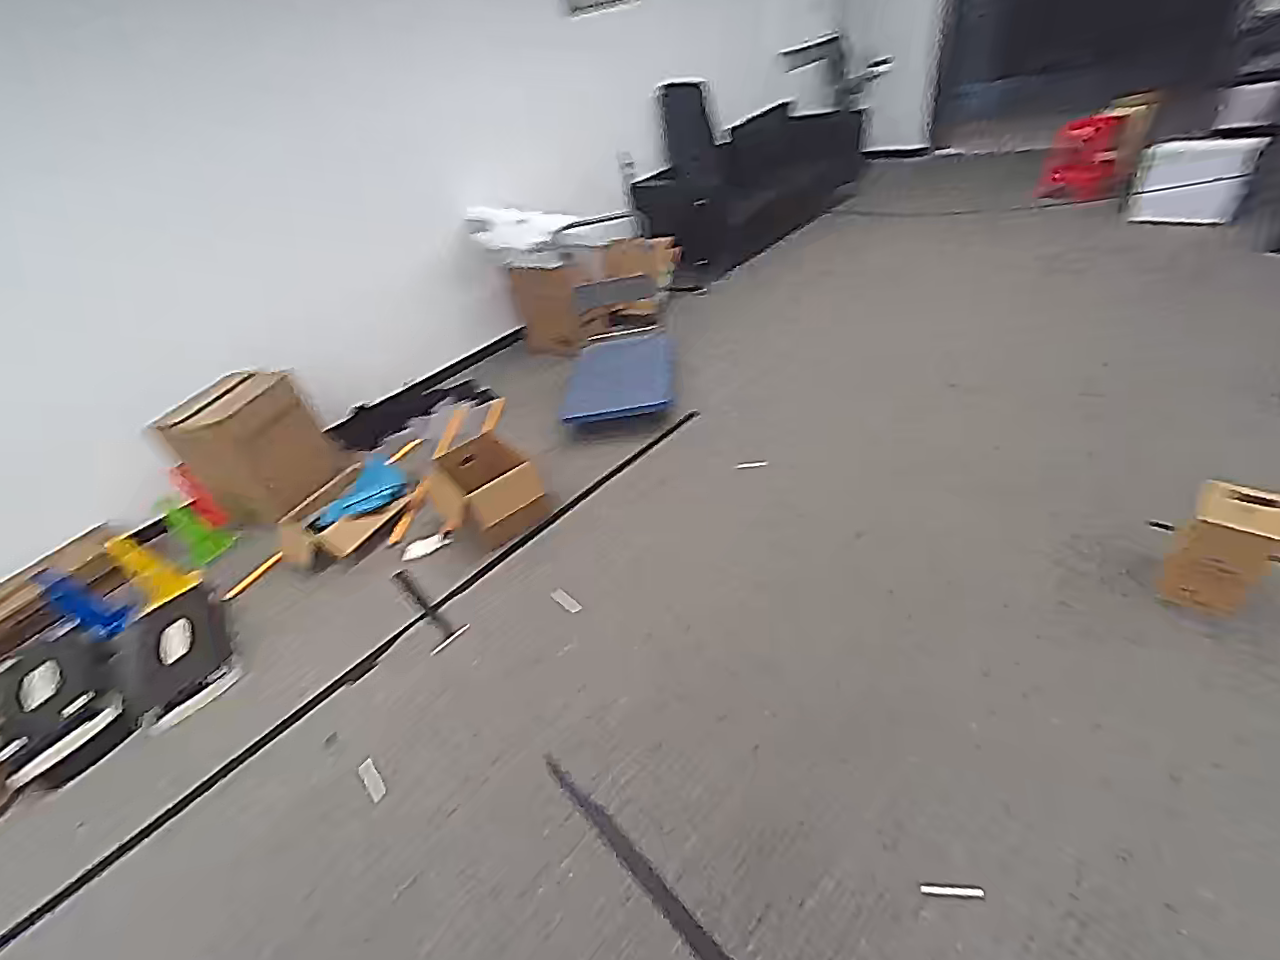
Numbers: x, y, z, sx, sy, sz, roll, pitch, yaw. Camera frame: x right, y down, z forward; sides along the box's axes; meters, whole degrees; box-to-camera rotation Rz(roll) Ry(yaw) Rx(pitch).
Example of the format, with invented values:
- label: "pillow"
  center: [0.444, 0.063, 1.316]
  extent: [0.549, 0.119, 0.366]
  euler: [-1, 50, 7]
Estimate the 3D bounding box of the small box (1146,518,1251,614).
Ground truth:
- label: "small box"
  center: [1.580, 0.243, 1.535]
  extent: [0.168, 0.176, 0.179]
  euler: [20, 50, 37]
